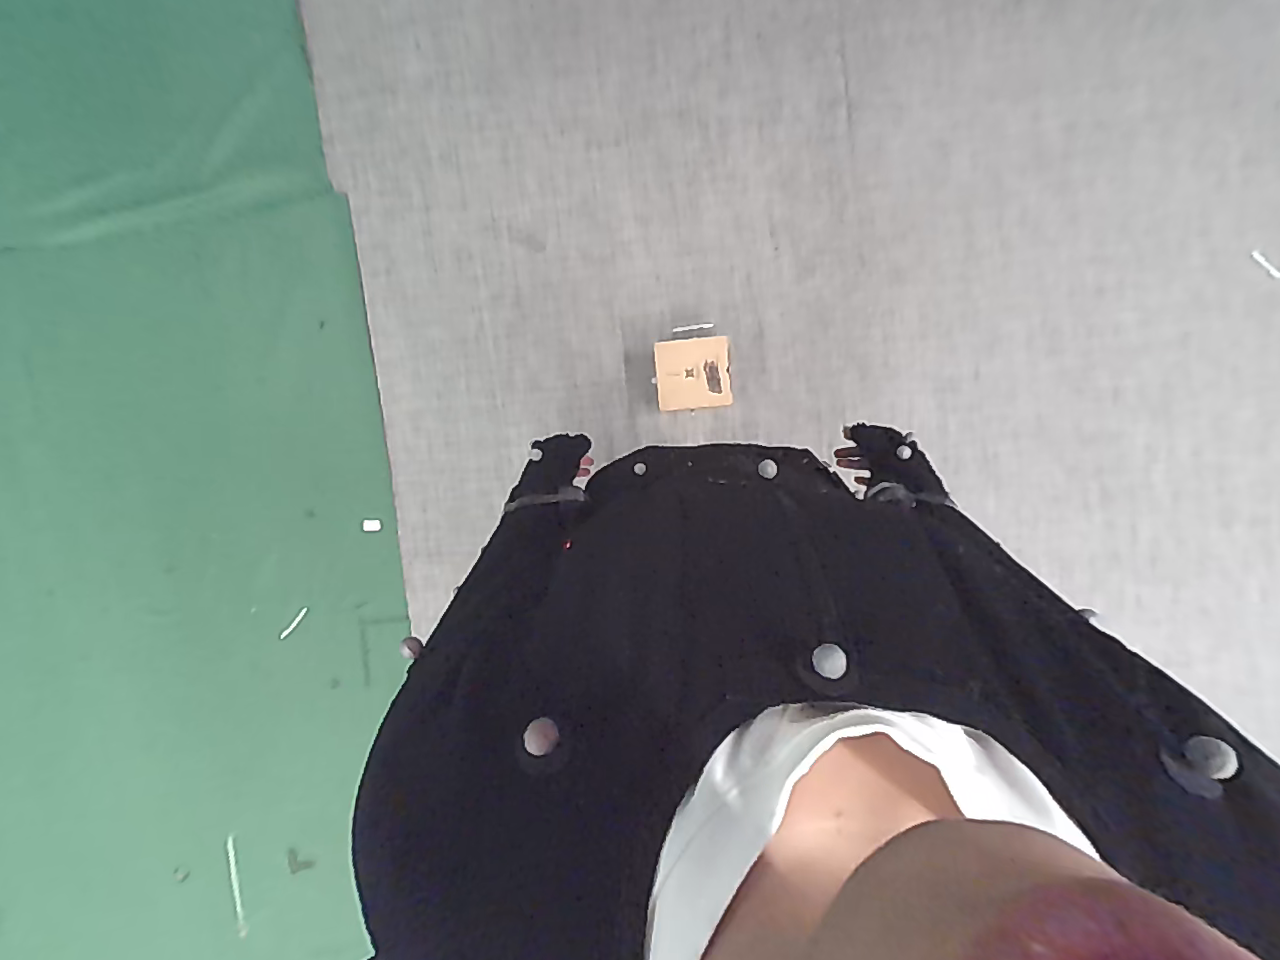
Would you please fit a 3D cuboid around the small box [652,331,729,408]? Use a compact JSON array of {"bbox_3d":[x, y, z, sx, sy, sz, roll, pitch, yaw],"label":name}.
[{"bbox_3d":[0.125,-0.273,1.363,0.179,0.176,0.168,-5,93,5],"label":"small box"}]
